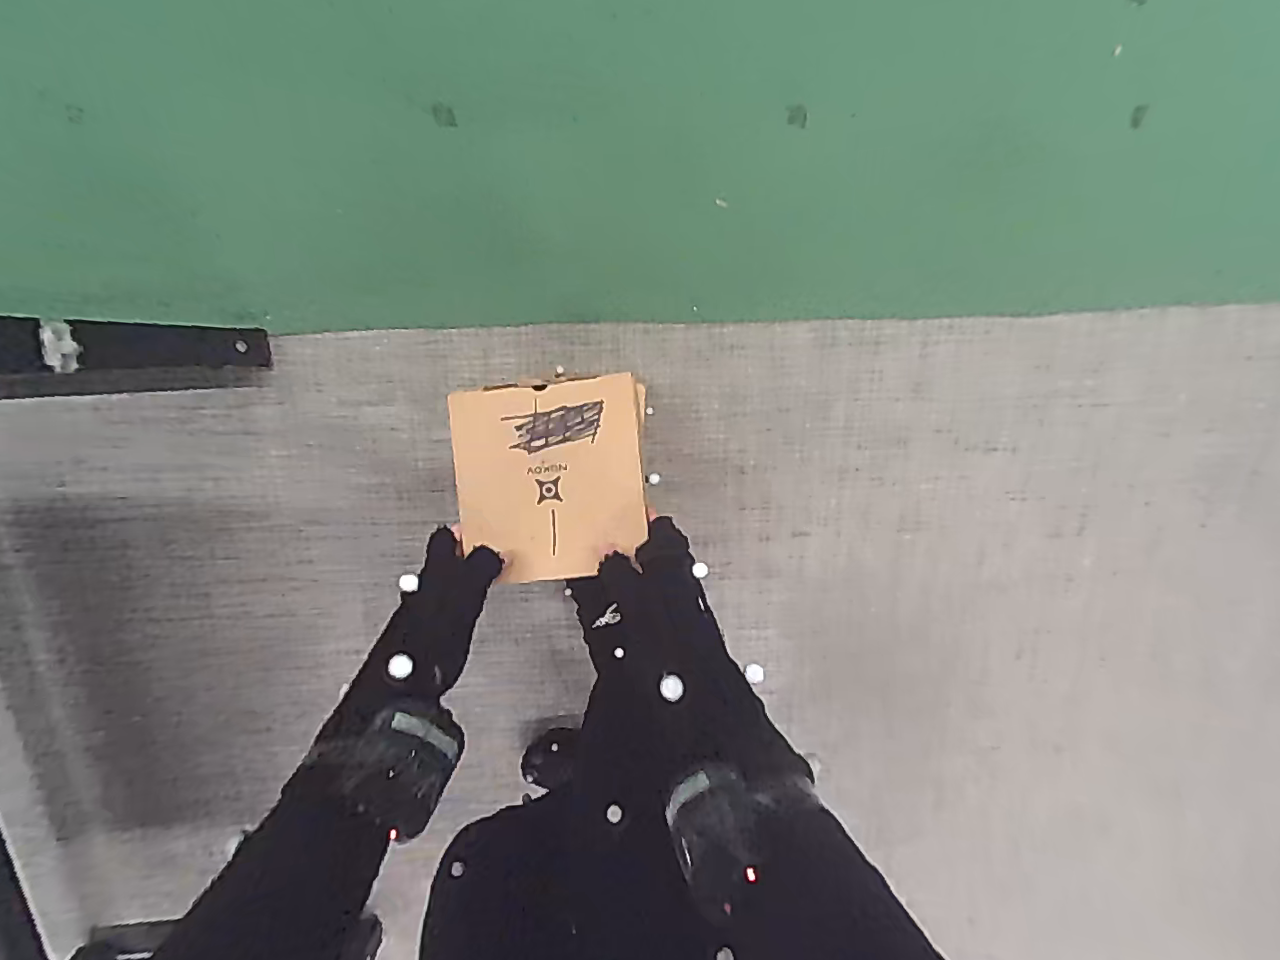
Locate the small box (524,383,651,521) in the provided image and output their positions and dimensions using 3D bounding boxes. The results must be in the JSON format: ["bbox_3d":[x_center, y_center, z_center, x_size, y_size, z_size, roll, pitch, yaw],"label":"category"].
[{"bbox_3d":[-0.073,-0.050,0.793,0.168,0.176,0.179,2,104,-1],"label":"small box"}]
